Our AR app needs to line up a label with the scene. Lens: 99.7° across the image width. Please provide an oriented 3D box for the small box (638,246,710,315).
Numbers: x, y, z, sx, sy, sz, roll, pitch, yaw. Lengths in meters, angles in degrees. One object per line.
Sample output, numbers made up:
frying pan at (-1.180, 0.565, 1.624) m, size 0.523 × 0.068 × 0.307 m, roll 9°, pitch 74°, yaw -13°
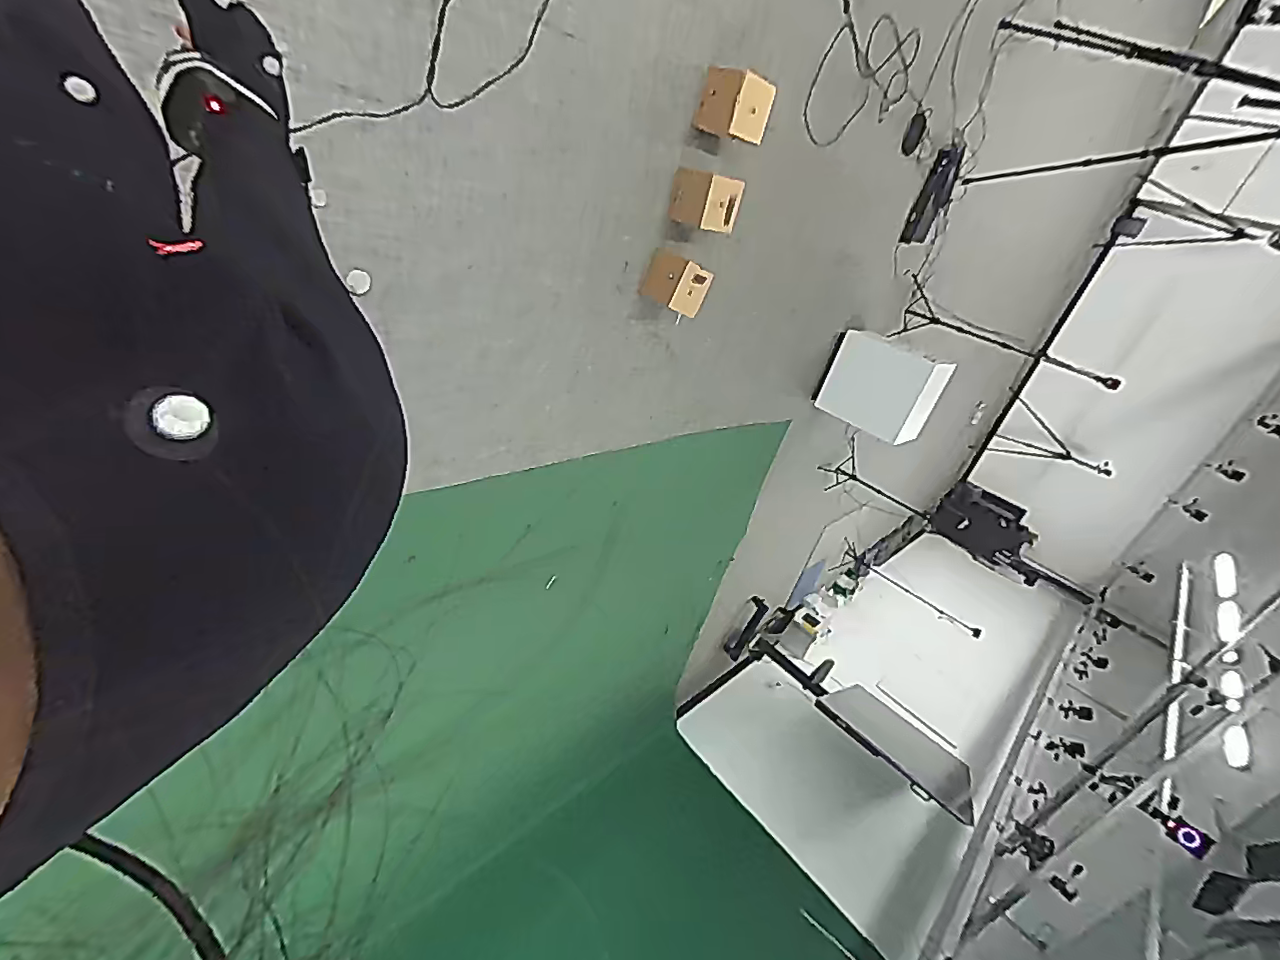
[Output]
small box at (0.120, -0.741, 2.004) m, size 0.168 × 0.176 × 0.179 m, roll 3°, pitch 120°, yaw -51°

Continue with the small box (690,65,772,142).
small box at (0.294, -1.230, 1.766) m, size 0.179 × 0.176 × 0.168 m, roll -14°, pitch 131°, yaw -43°
